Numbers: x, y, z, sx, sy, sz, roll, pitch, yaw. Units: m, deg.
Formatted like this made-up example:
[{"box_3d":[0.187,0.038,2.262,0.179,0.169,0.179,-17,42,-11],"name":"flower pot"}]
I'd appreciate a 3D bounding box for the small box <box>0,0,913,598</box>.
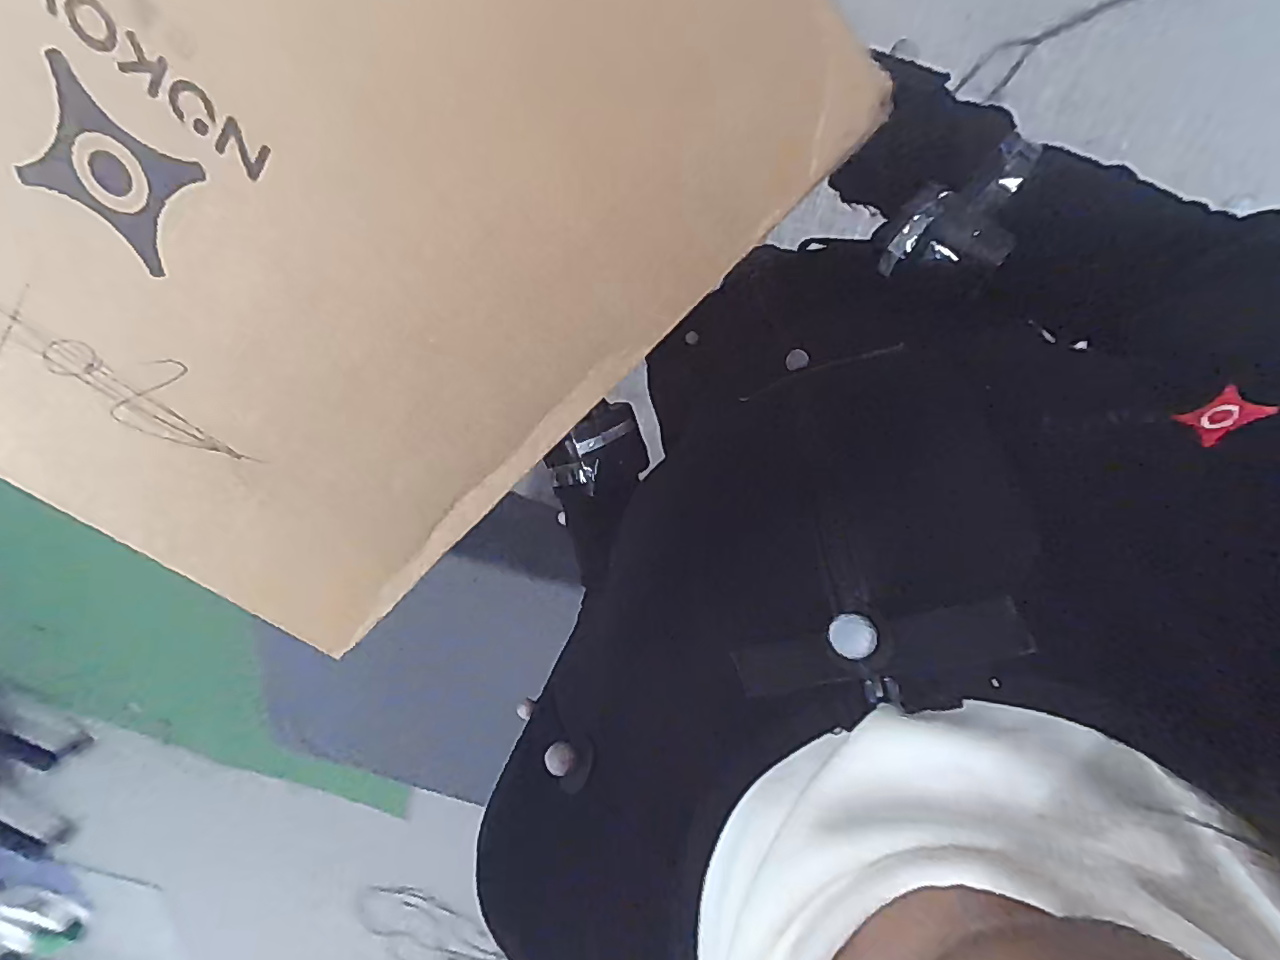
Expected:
[{"box_3d":[-0.069,-0.108,0.156,0.168,0.176,0.179,41,118,-19],"name":"small box"}]
